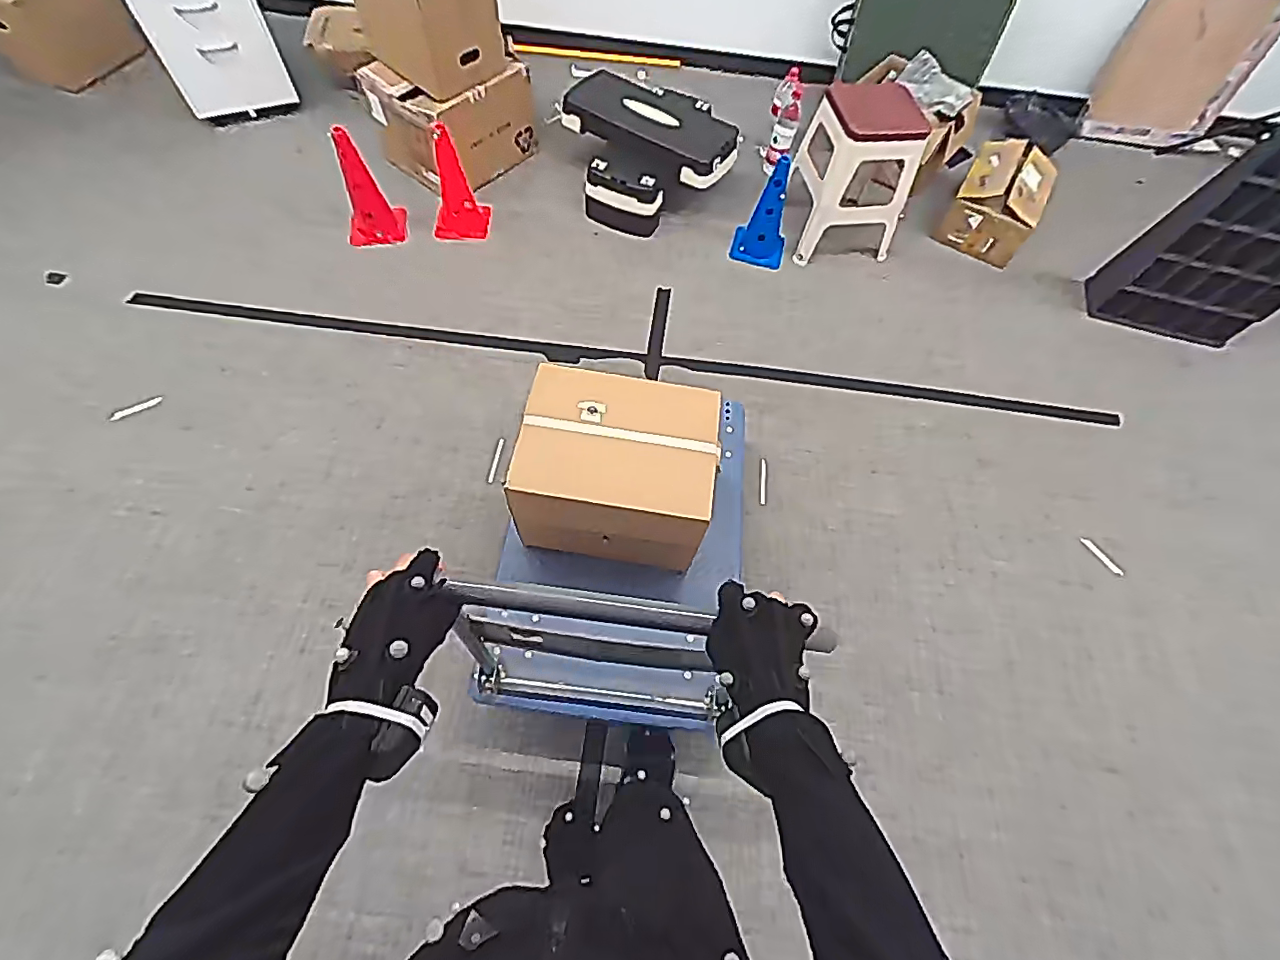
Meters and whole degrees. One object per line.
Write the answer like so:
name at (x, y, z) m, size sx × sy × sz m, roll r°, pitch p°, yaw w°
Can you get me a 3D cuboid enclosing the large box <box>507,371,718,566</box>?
large box at (-0.050, -0.013, 1.254) m, size 0.408 × 0.320 × 0.320 m, roll 9°, pitch 62°, yaw 1°
